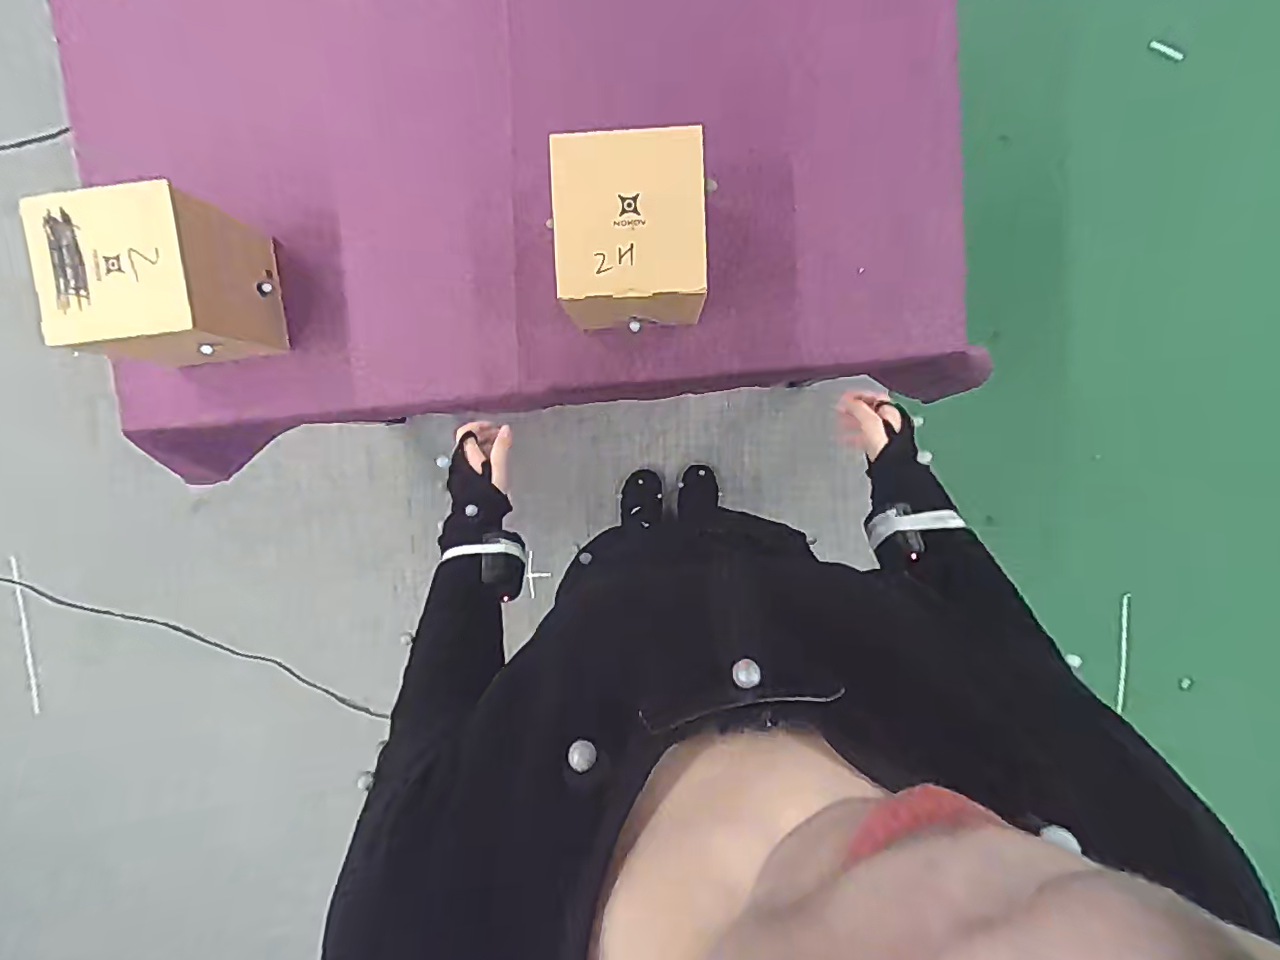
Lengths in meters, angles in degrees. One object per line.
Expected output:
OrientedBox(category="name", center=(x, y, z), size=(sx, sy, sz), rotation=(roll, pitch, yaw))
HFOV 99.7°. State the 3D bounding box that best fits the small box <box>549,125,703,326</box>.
OrientedBox(category="small box", center=(-0.013, -0.294, 0.658), size=(0.168, 0.176, 0.179), rotation=(-2, 96, 2))
